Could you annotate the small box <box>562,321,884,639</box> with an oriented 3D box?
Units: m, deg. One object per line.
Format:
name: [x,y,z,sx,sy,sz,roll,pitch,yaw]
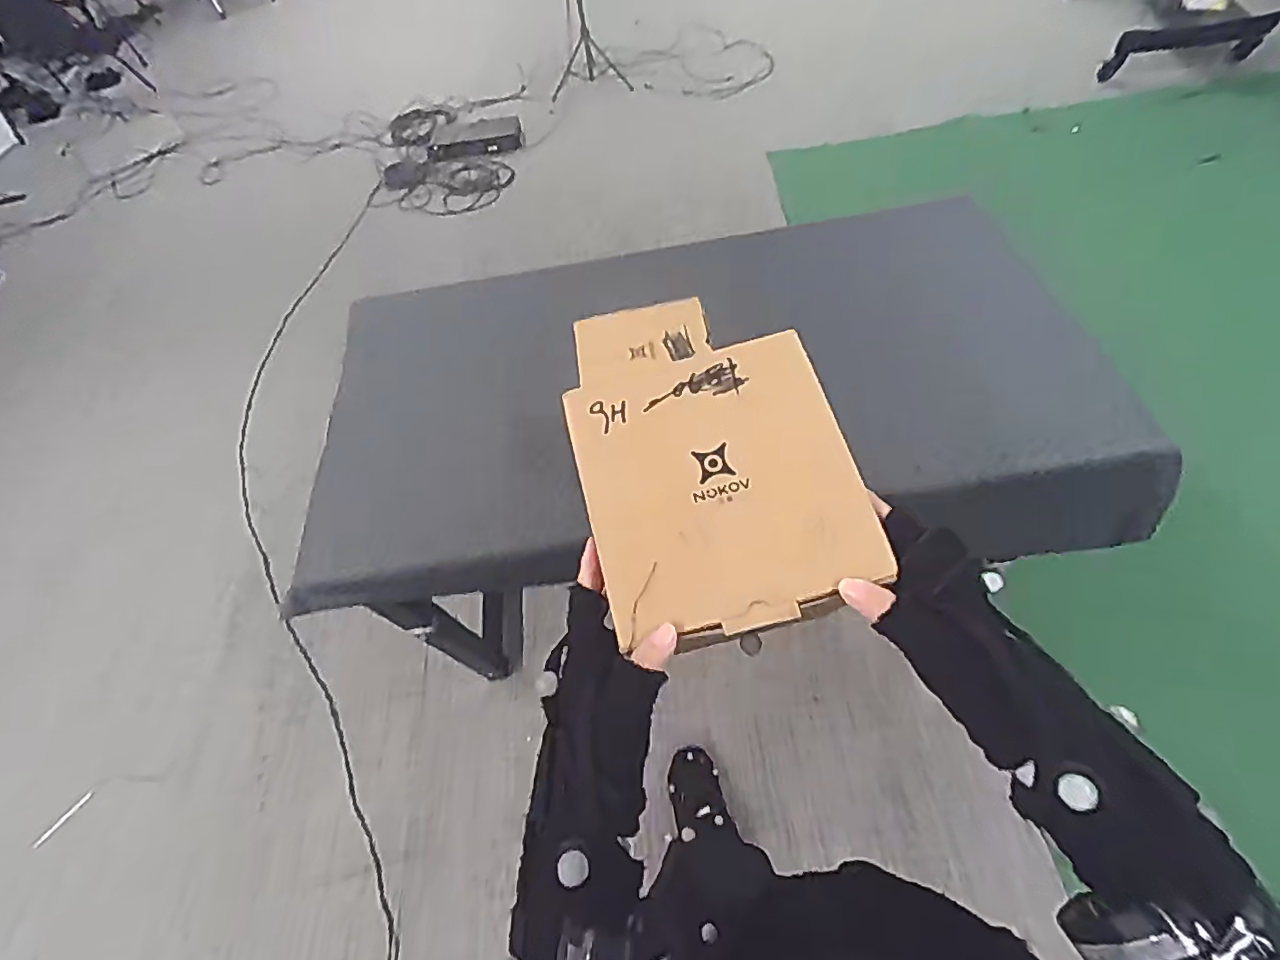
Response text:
small box: [0.053,0.016,0.413,0.168,0.176,0.179,-15,71,1]

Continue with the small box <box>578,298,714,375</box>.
small box: [0.019,-0.122,0.757,0.179,0.176,0.168,-10,58,2]
